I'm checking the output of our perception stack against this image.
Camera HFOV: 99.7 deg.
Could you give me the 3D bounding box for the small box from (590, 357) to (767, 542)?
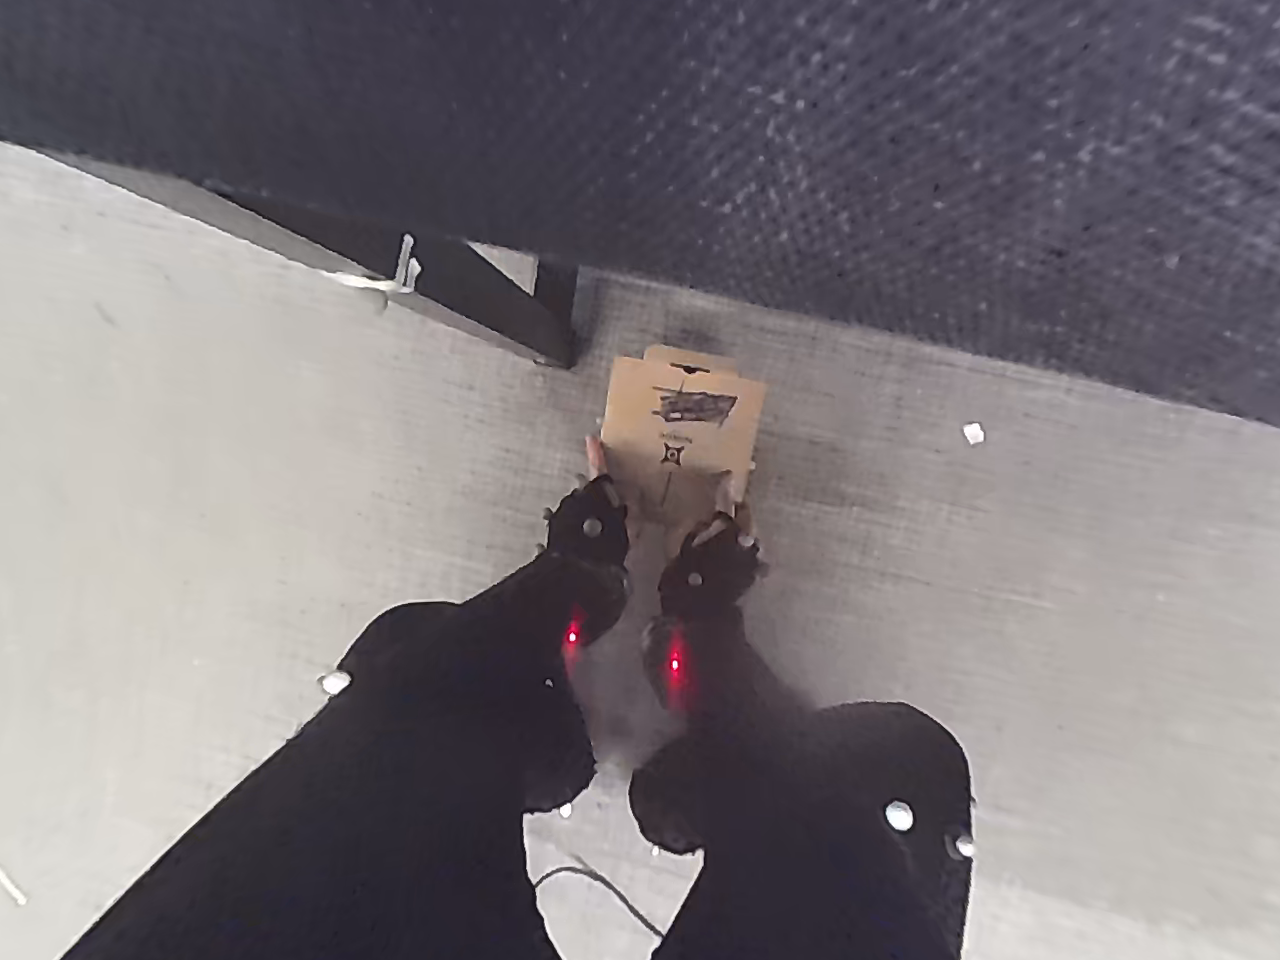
[{"bbox_3d":[0.045,-0.039,0.649,0.168,0.176,0.179,9,97,5],"label":"small box"}]
